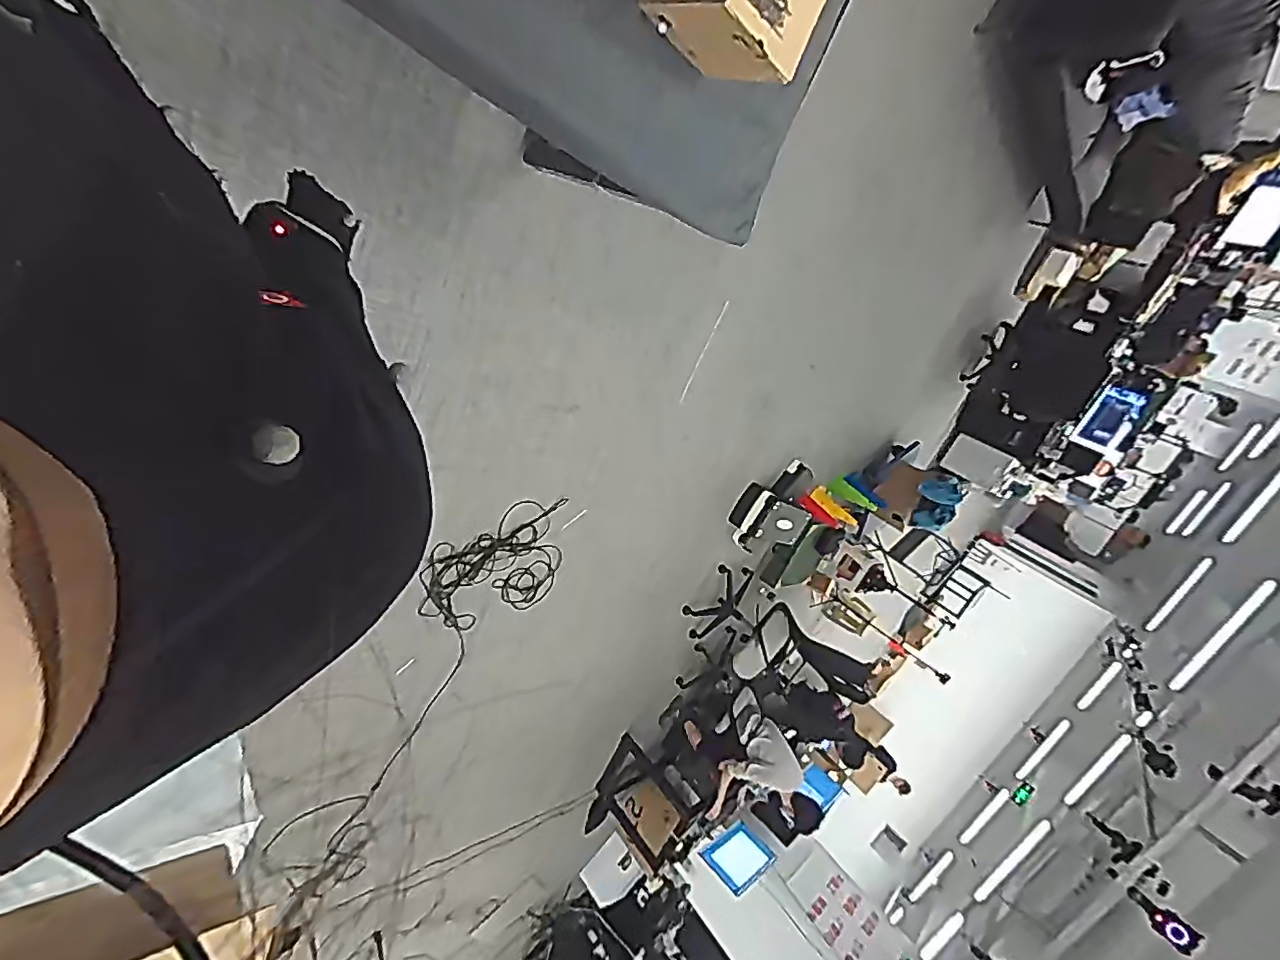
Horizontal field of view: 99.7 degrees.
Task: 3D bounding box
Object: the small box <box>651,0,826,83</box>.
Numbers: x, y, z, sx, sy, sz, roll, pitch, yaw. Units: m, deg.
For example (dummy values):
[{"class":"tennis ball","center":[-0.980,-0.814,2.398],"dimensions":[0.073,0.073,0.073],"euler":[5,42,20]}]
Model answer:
[{"class":"small box","center":[0.134,-0.671,0.716],"dimensions":[0.168,0.176,0.179],"euler":[3,117,-49]}]
